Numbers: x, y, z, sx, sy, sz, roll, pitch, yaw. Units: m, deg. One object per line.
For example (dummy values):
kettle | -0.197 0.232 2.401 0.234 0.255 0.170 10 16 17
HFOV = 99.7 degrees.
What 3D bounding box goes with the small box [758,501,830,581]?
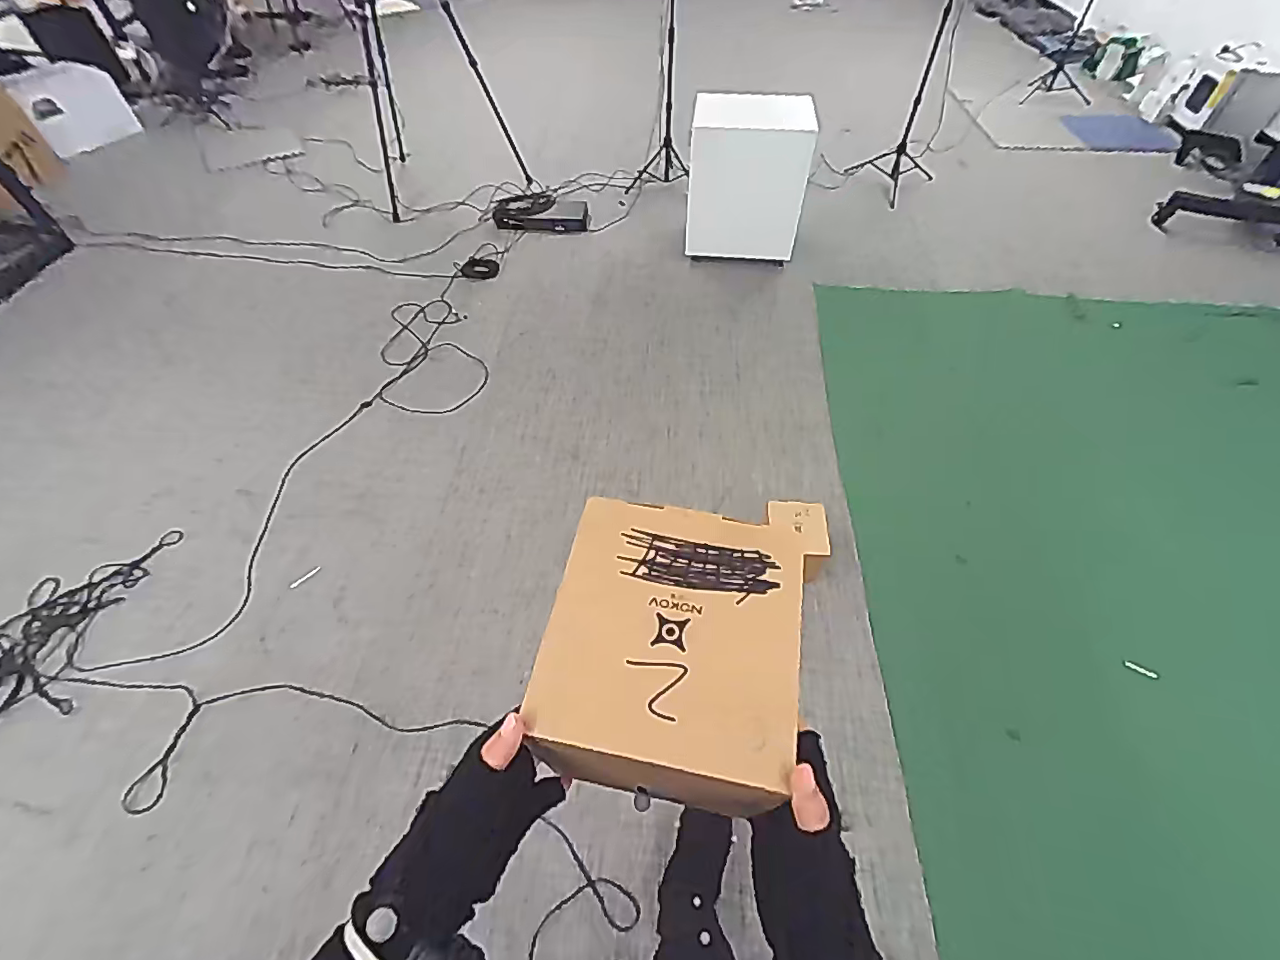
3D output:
small box | 0.447 0.183 1.594 0.168 0.176 0.179 4 53 3
